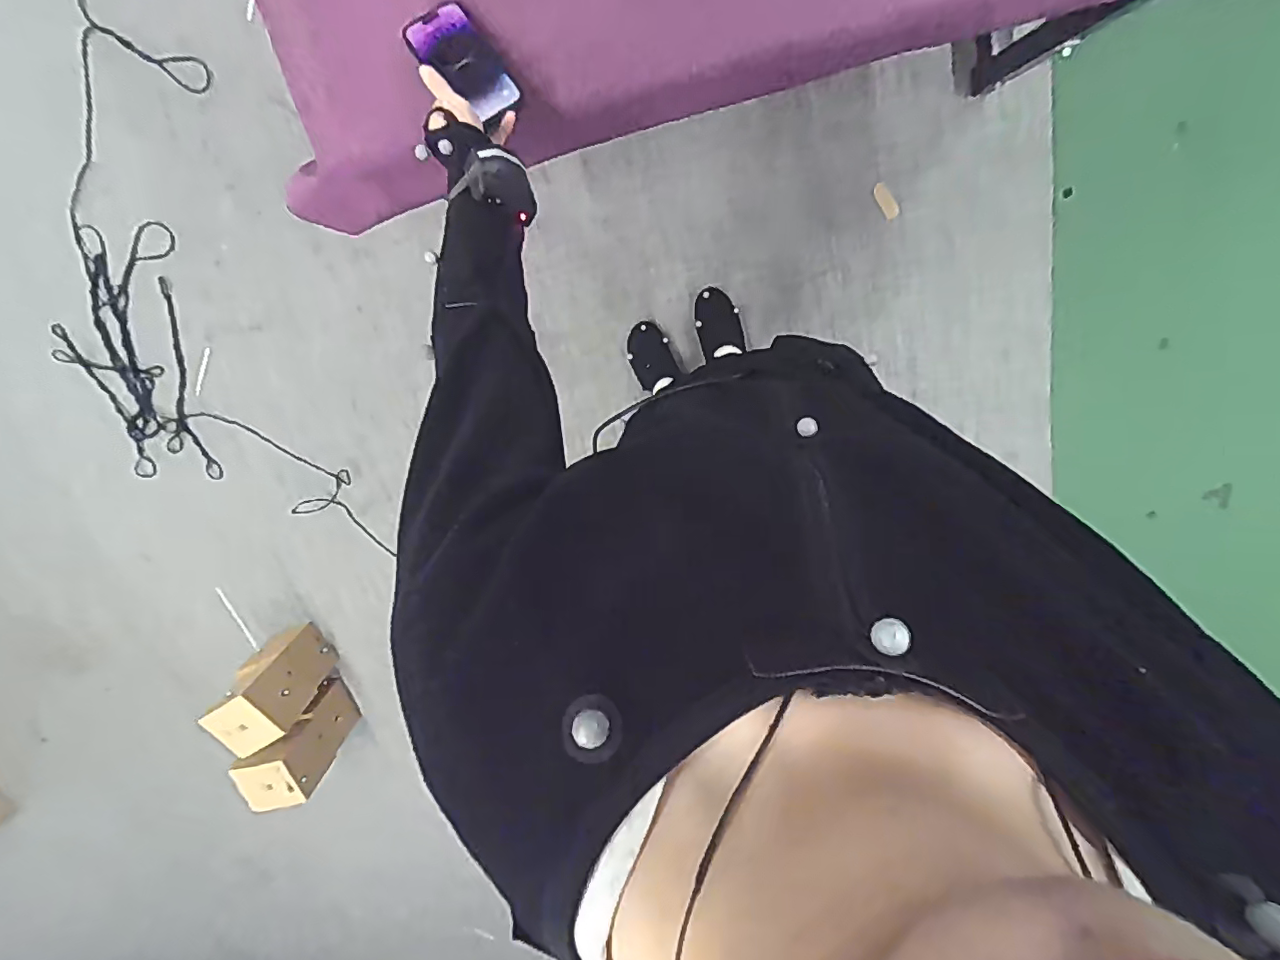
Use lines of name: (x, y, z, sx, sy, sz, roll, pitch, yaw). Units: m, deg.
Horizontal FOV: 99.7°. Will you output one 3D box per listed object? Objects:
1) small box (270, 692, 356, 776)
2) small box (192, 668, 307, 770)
small box: (-1.065, 0.813, 1.751, 0.168, 0.176, 0.179, -14, 109, 6)
small box: (-1.088, 0.668, 1.529, 0.179, 0.176, 0.168, -30, 107, 11)
